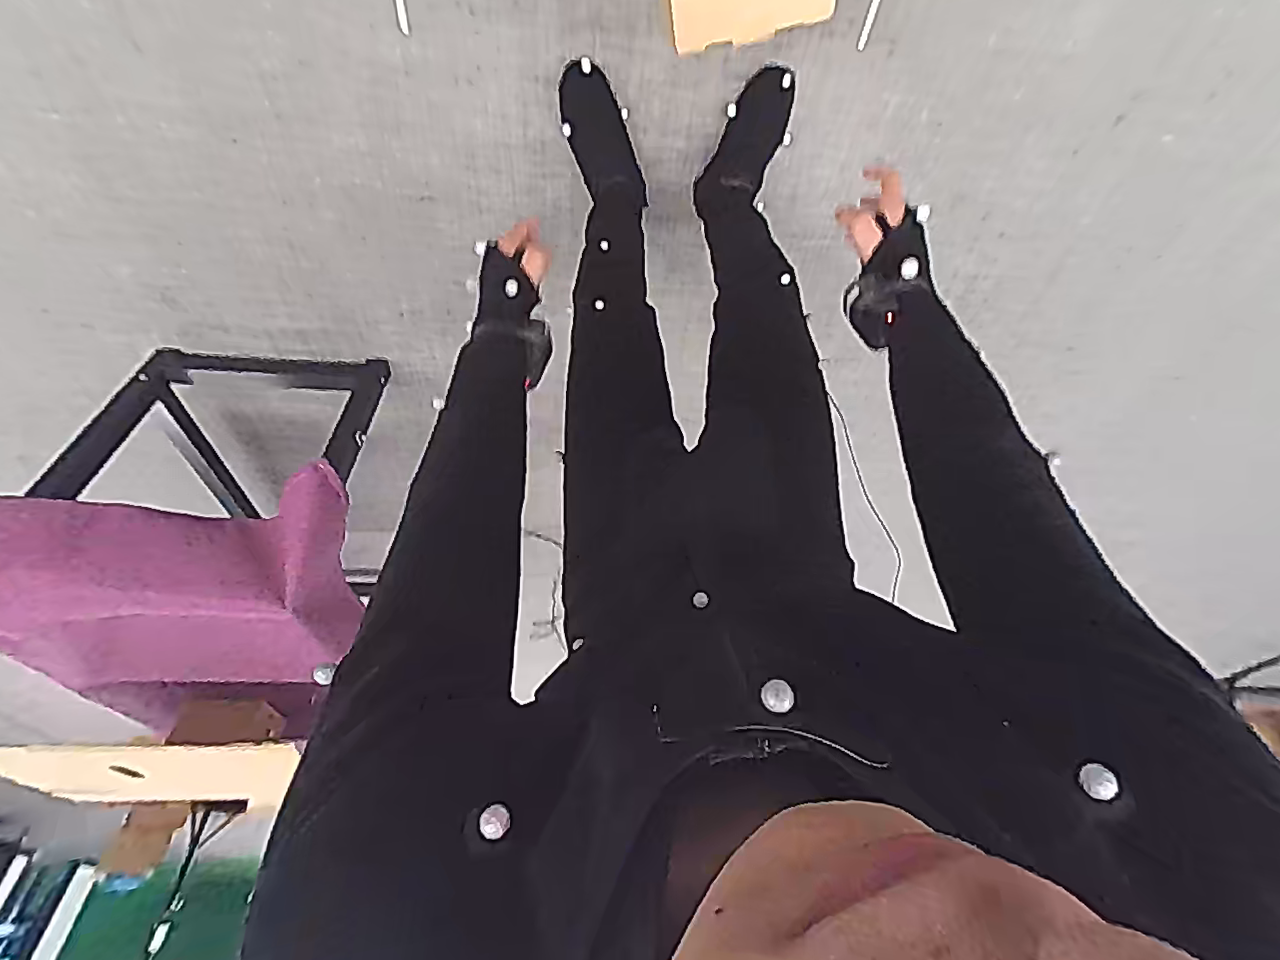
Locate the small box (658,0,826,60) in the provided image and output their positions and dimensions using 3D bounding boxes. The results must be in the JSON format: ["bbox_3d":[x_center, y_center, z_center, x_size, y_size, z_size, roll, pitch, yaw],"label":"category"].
[{"bbox_3d":[0.096,-0.580,0.561,0.168,0.176,0.179,-9,140,6],"label":"small box"}]
